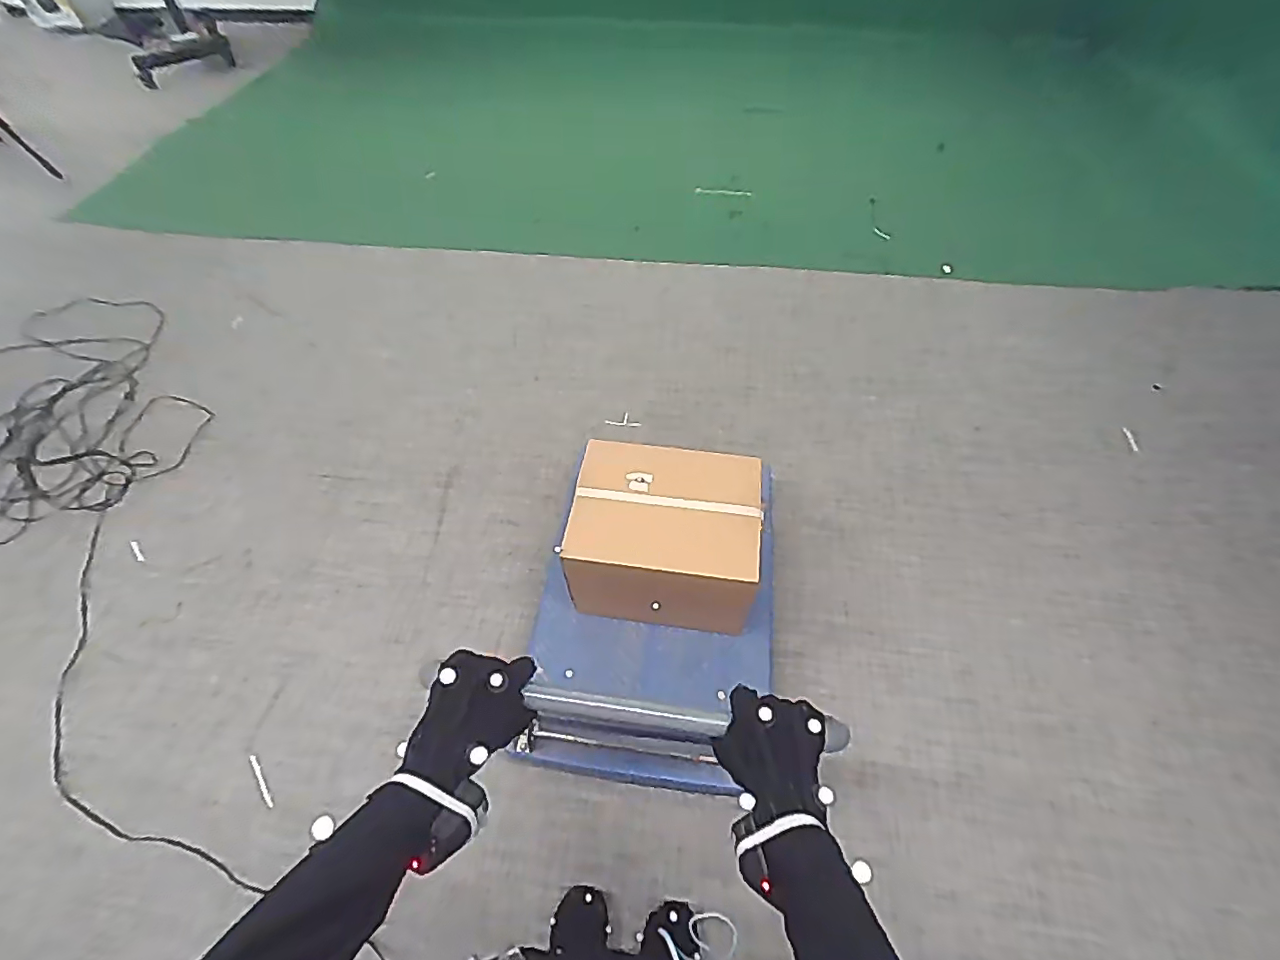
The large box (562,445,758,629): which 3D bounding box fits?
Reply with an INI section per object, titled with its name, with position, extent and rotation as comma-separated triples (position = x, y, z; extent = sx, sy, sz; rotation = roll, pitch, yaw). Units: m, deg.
[large box]
position = 0.060, 0.143, 1.294
extent = 0.408, 0.320, 0.320
rotation = 6, 55, 6
